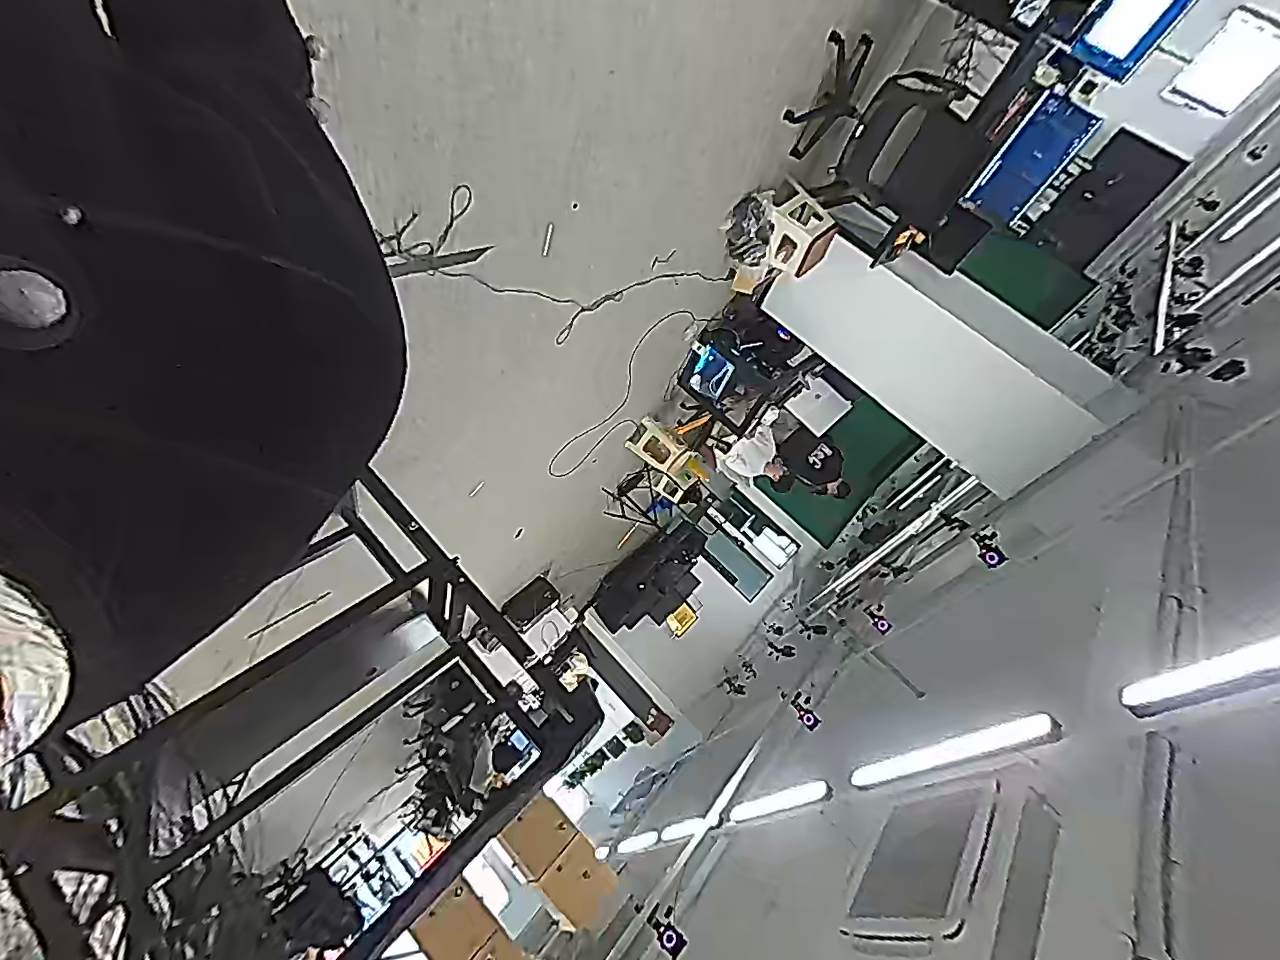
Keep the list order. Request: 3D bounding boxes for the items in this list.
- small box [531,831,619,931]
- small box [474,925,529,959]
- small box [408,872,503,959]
[{"bbox_3d":[-0.193,1.154,1.564,0.168,0.176,0.179,-35,164,-39],"label":"small box"},{"bbox_3d":[-0.378,1.287,1.388,0.168,0.176,0.179,-36,163,-40],"label":"small box"},{"bbox_3d":[-0.489,1.174,1.423,0.168,0.176,0.179,-35,164,-39],"label":"small box"}]
